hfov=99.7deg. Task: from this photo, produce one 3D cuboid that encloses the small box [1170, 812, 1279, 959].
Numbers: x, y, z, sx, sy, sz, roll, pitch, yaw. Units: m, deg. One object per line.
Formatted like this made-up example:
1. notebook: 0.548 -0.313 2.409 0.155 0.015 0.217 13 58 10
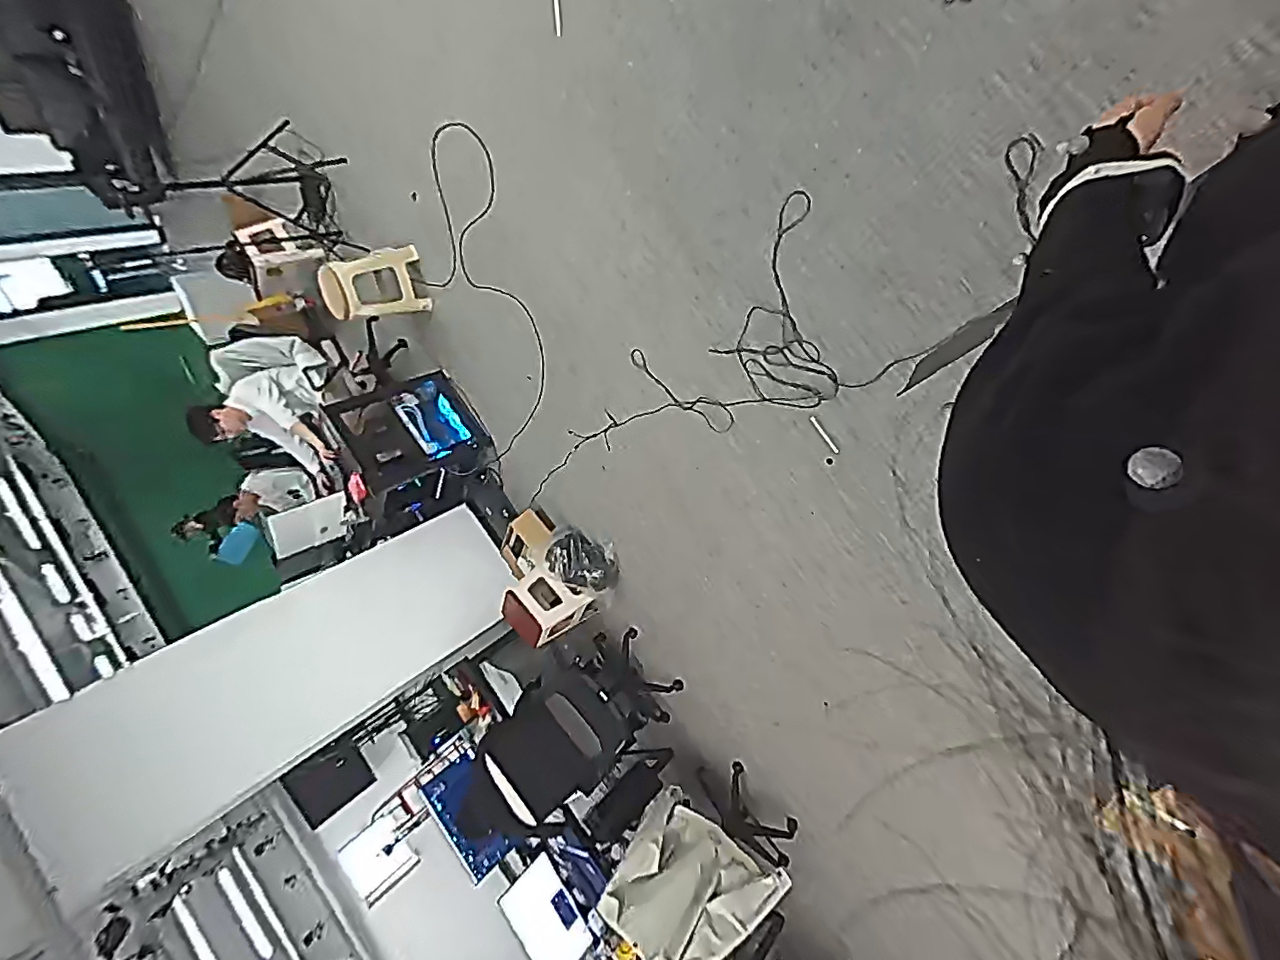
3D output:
1. small box: 1.172 0.790 1.031 0.179 0.176 0.168 27 131 37
